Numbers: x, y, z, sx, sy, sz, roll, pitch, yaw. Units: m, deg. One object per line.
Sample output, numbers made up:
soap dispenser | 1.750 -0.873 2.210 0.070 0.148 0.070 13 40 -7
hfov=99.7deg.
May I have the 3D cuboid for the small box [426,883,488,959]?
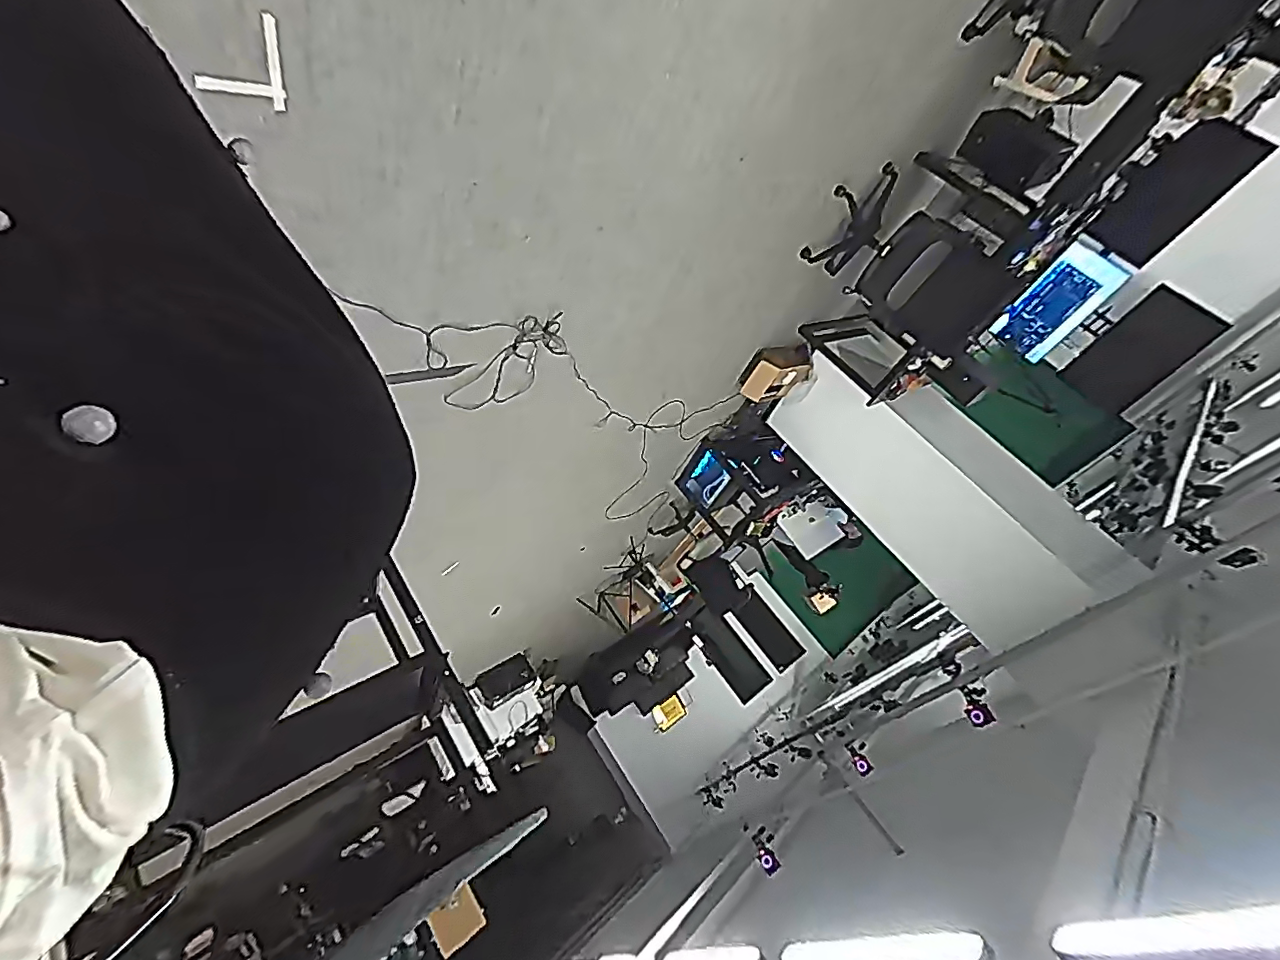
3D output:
small box | -0.697 1.670 2.045 0.168 0.176 0.179 -24 154 -35
